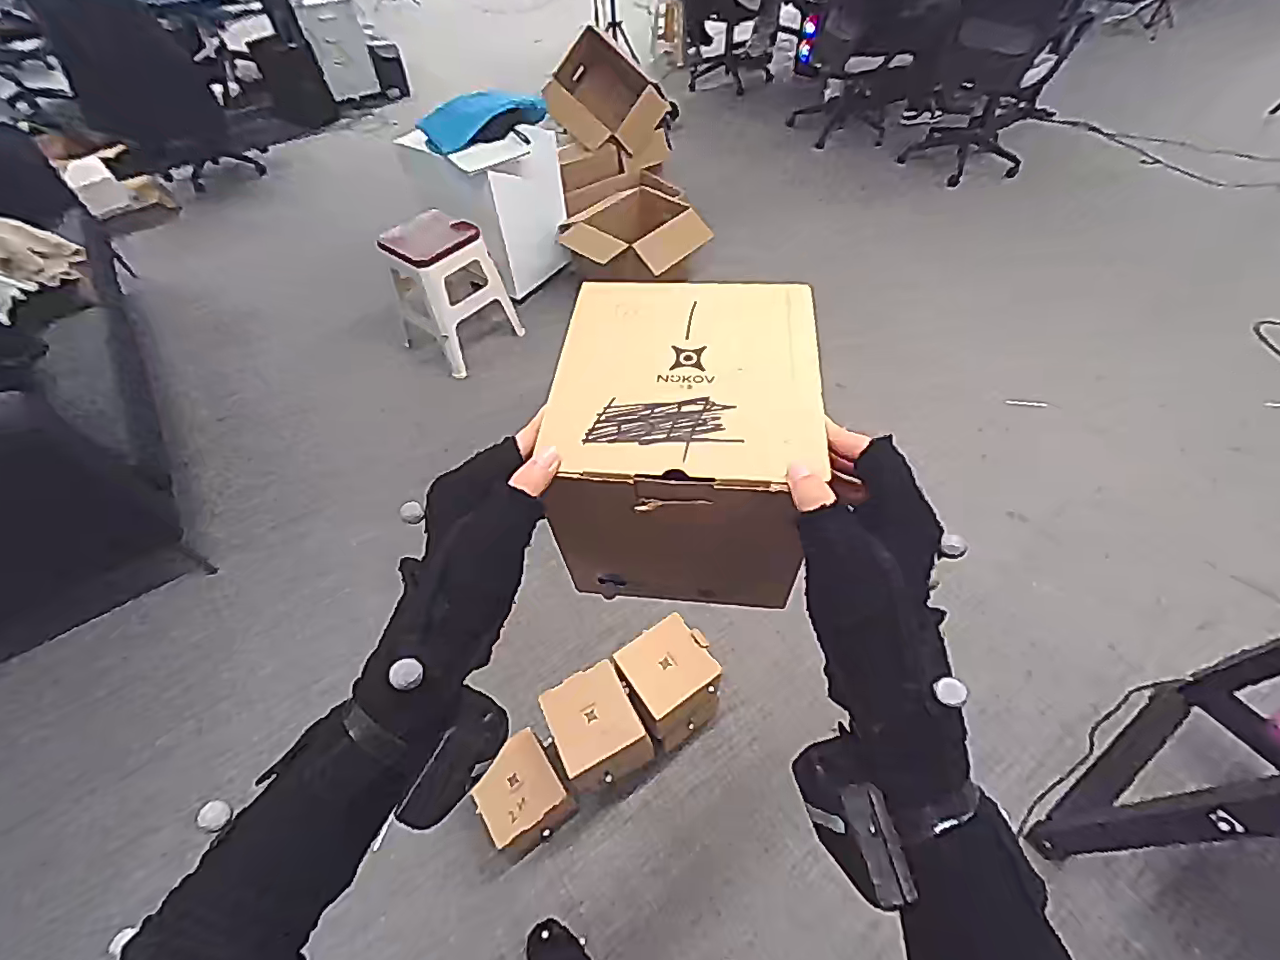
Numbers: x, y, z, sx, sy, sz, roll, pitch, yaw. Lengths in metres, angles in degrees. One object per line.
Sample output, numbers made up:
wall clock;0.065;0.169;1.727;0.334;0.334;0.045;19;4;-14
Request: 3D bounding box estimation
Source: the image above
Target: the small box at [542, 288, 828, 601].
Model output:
small box;0.040;-0.023;0.413;0.168;0.176;0.179;4;54;8
